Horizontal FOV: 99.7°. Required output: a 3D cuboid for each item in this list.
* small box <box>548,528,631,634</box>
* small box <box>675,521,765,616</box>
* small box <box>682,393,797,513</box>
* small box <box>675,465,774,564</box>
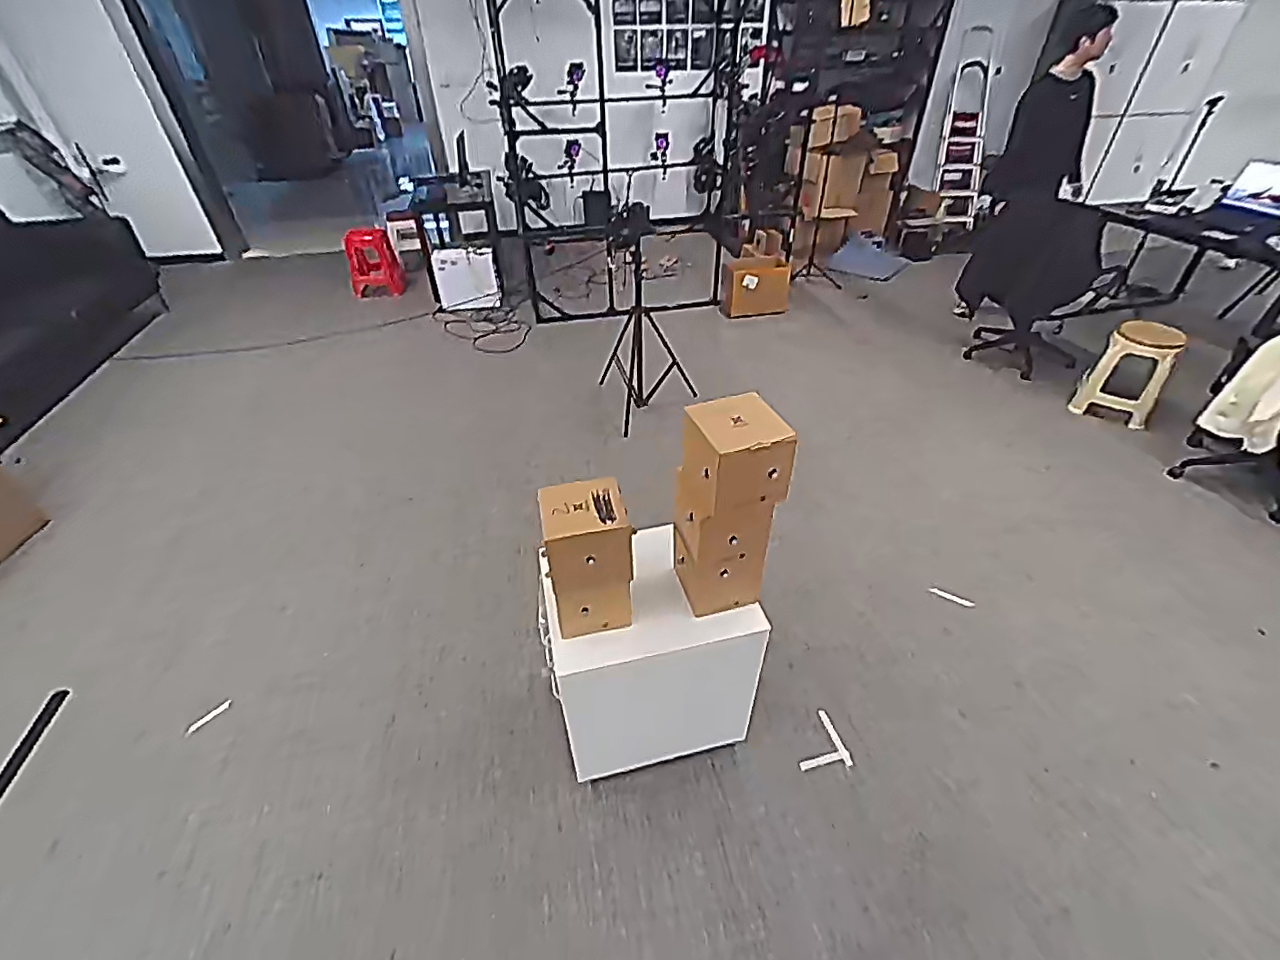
[{"bbox_3d":[-0.117,0.242,1.272,0.168,0.176,0.179,-9,39,-9],"label":"small box"},{"bbox_3d":[0.185,0.198,1.313,0.168,0.176,0.179,-12,40,-10],"label":"small box"},{"bbox_3d":[0.193,-0.051,1.098,0.168,0.176,0.179,-14,41,-14],"label":"small box"},{"bbox_3d":[0.181,0.070,1.208,0.168,0.176,0.179,-11,40,-10],"label":"small box"}]
